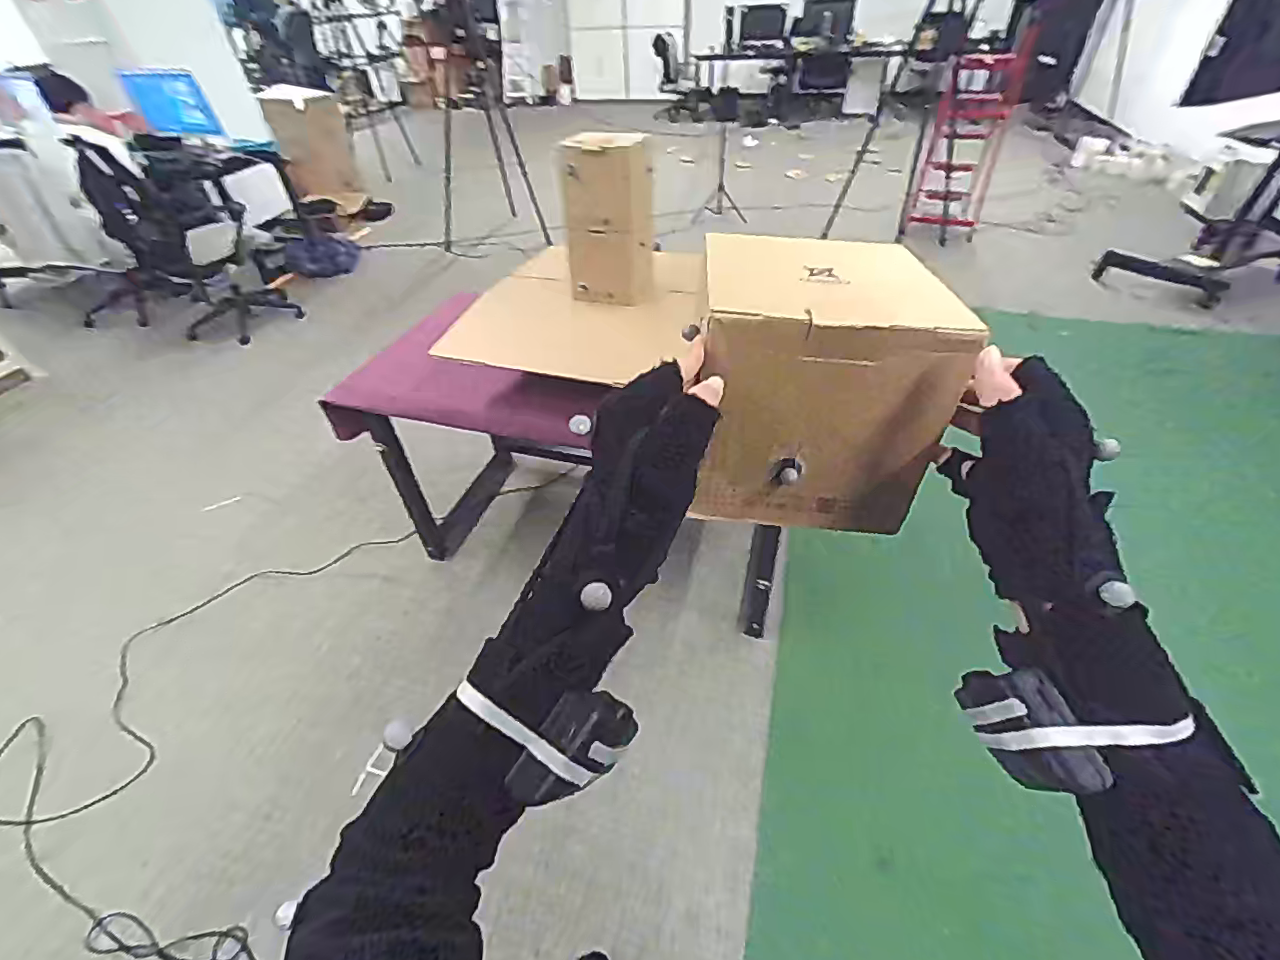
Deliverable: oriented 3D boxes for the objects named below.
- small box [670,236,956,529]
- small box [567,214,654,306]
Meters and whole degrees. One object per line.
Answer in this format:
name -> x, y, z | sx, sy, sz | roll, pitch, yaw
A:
small box -> 0.113, -0.084, 0.444 | 0.168, 0.176, 0.179 | 4, 40, 1
small box -> -0.065, -0.547, 1.344 | 0.168, 0.176, 0.179 | 11, 41, 15
